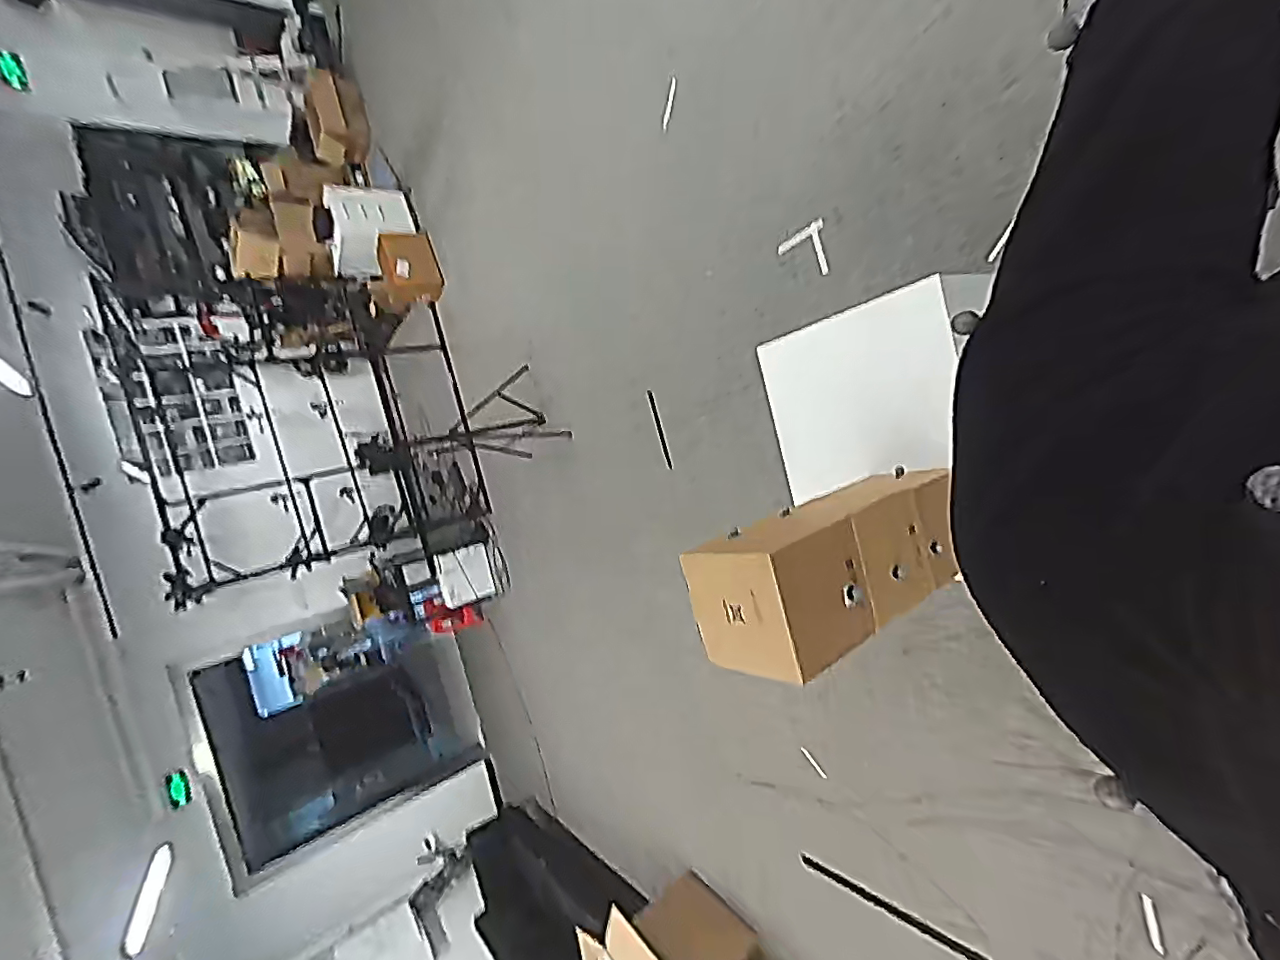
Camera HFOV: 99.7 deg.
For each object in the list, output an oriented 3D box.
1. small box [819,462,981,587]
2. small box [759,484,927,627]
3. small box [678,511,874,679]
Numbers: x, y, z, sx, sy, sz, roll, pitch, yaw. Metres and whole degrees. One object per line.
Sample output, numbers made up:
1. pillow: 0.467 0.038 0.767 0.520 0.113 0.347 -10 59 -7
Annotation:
1. small box: 0.443 0.072 0.927 0.179 0.176 0.168 -9 96 56
2. small box: 0.315 0.109 0.833 0.179 0.176 0.168 -11 94 56
3. small box: 0.185 0.146 0.743 0.179 0.176 0.168 -12 94 55
